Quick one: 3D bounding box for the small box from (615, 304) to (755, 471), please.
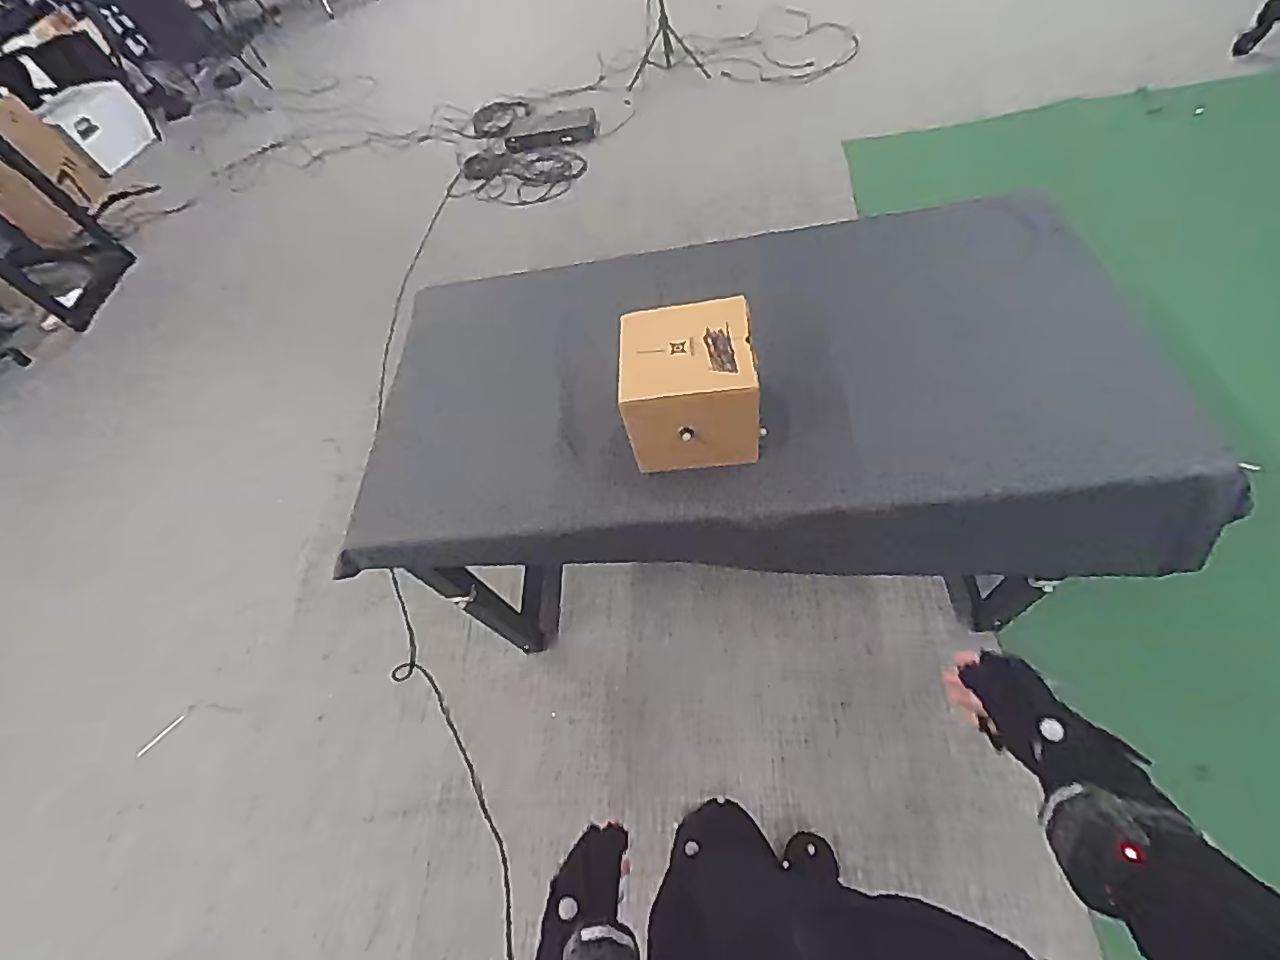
[{"bbox_3d":[0.072,-0.125,0.776,0.179,0.176,0.168,-3,56,10],"label":"small box"}]
